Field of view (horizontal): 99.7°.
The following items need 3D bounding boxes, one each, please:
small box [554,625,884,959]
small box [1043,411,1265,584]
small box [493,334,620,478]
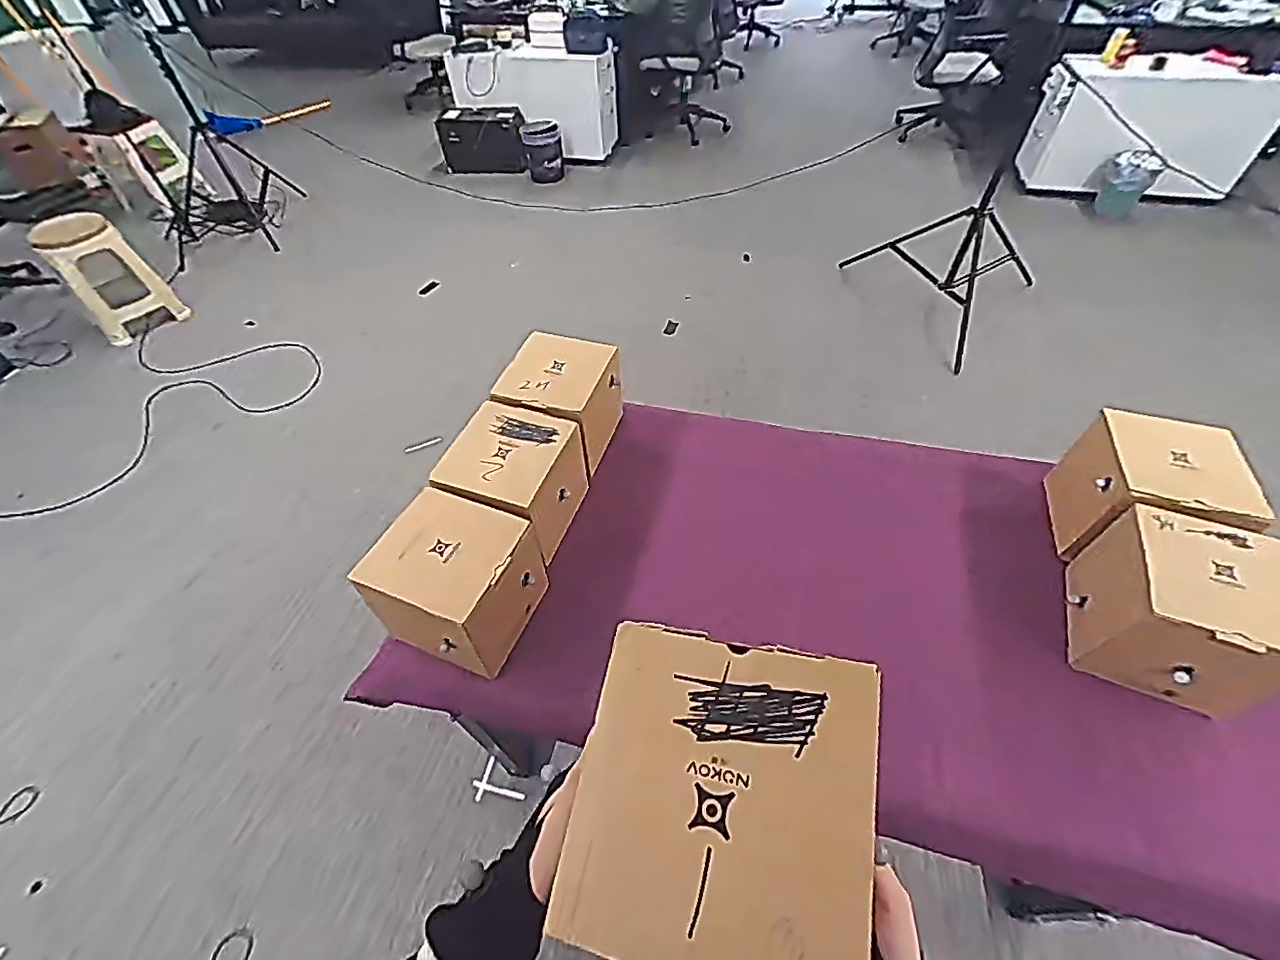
[{"bbox_3d":[0.067,0.222,0.375,0.168,0.176,0.179,5,61,20],"label":"small box"},{"bbox_3d":[0.750,0.027,0.820,0.168,0.176,0.179,13,51,12],"label":"small box"},{"bbox_3d":[-0.140,-0.133,0.982,0.168,0.176,0.179,13,53,13],"label":"small box"}]
